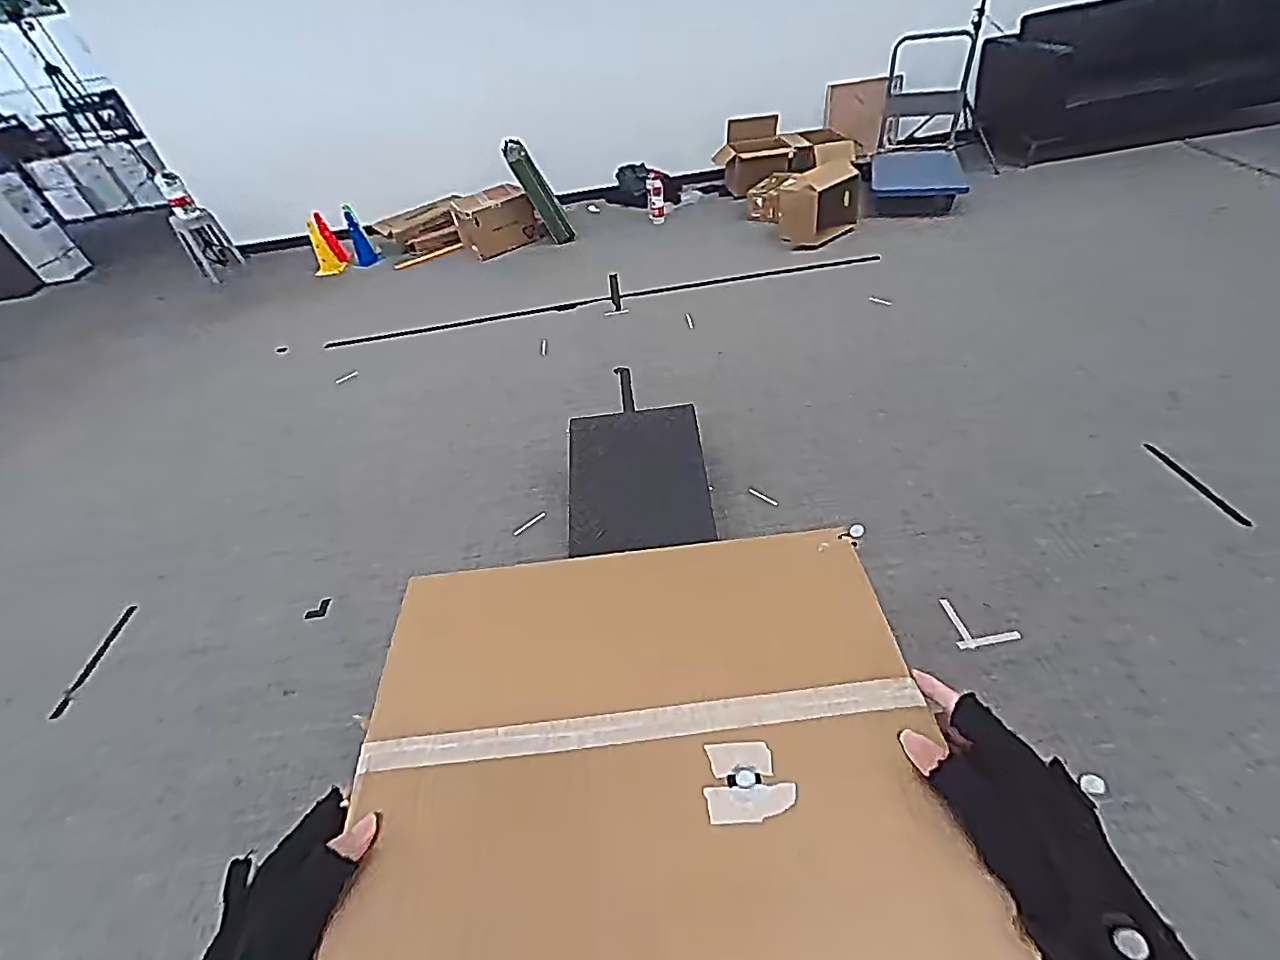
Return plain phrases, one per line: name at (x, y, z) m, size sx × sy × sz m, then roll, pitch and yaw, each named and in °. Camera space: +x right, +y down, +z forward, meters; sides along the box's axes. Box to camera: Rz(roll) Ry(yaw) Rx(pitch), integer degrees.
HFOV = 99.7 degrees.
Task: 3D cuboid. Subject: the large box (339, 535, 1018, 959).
large box at (0.016, 0.288, 0.510) m, size 0.408 × 0.320 × 0.320 m, roll -7°, pitch 46°, yaw 0°
